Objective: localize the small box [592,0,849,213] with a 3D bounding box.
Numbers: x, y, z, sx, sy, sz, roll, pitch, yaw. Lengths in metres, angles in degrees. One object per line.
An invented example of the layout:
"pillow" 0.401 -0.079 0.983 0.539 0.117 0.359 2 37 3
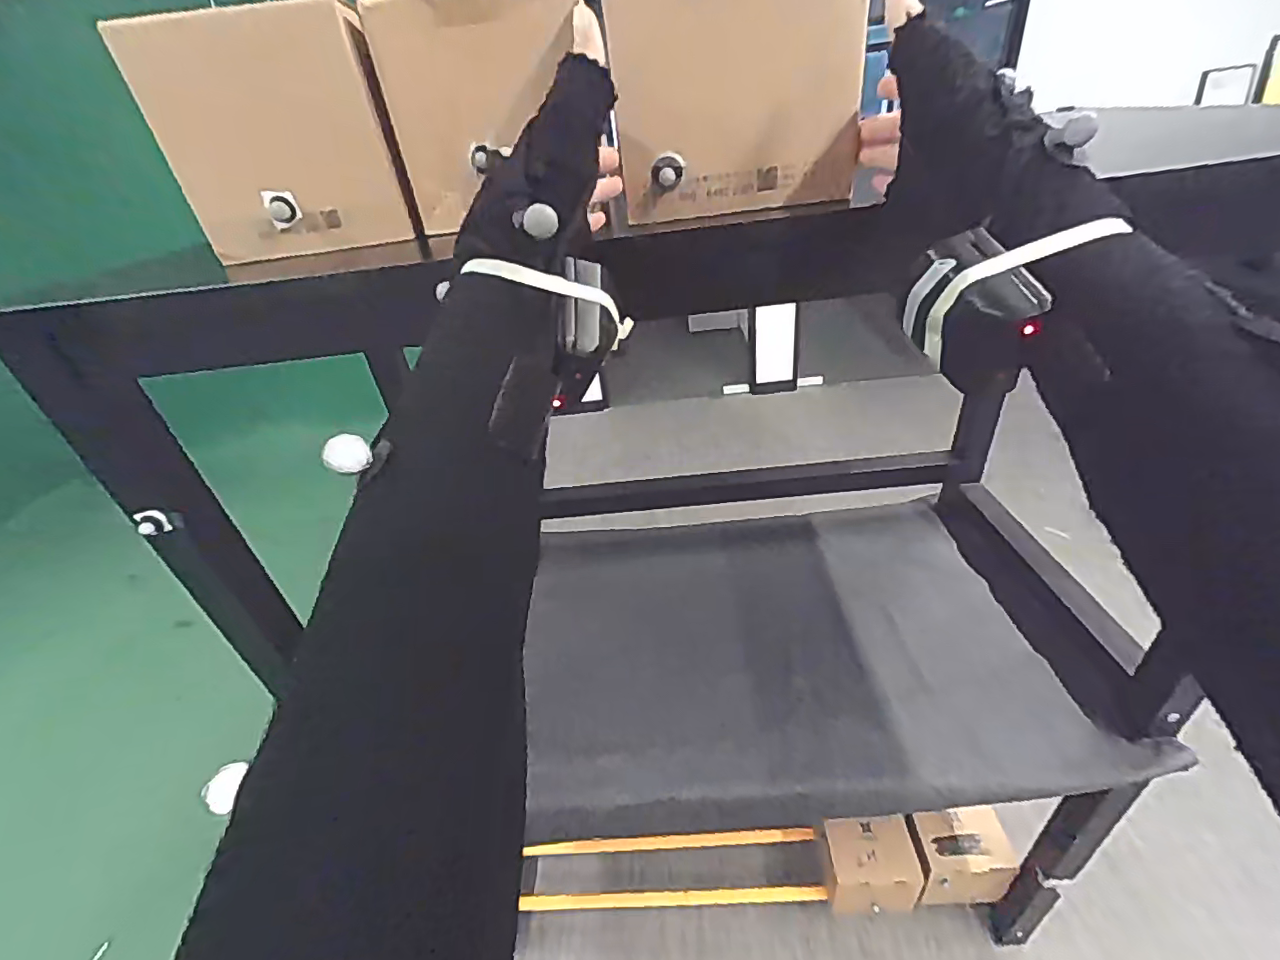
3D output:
"small box" 0.061 -0.316 0.426 0.168 0.176 0.179 -4 32 6
